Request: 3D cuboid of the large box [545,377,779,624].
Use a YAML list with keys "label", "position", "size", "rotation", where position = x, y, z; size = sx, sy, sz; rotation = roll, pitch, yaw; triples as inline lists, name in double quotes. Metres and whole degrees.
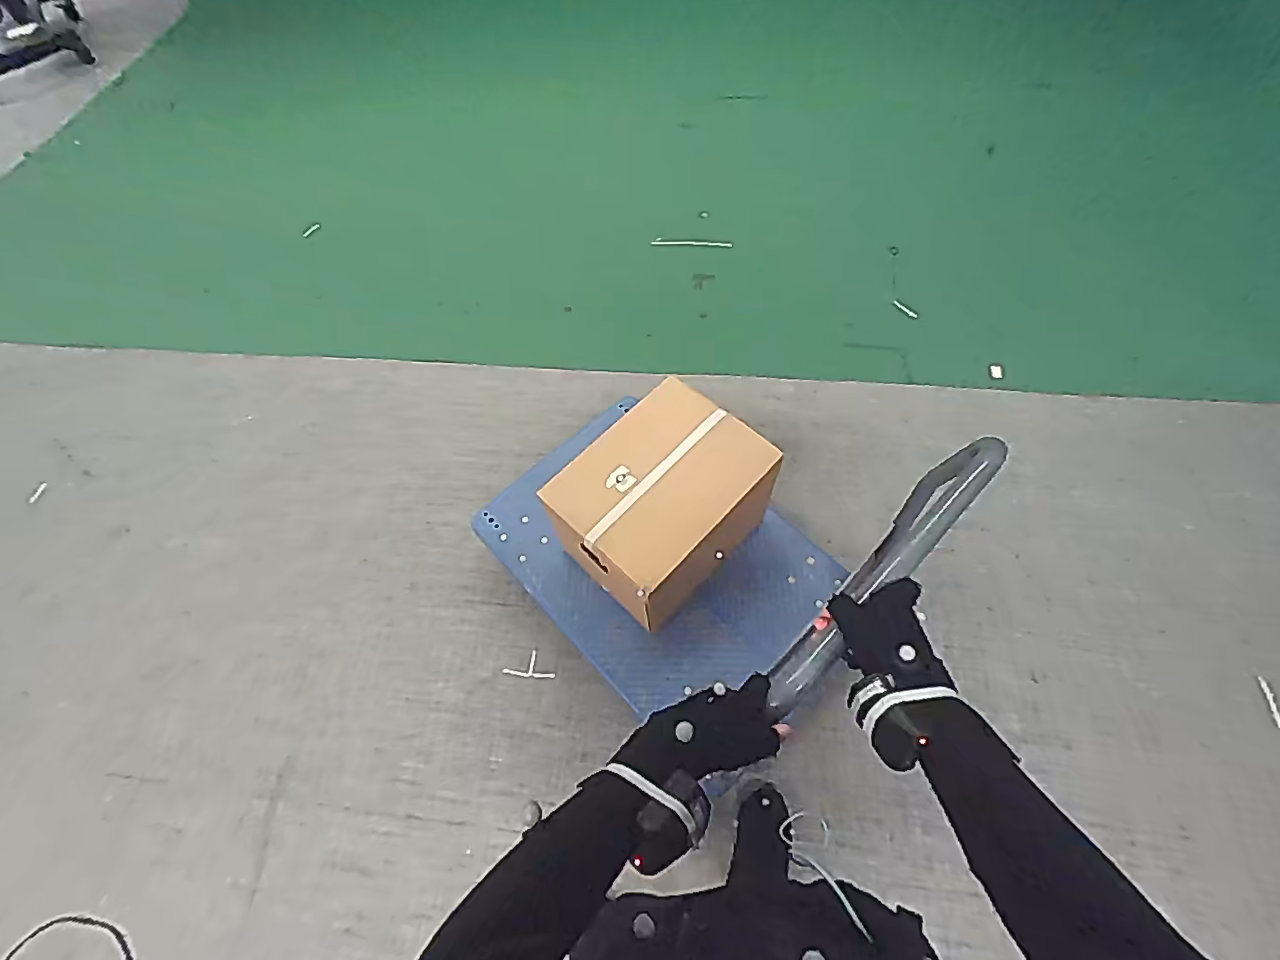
- label: "large box"
  position: [0.058, 0.054, 1.236]
  size: [0.320, 0.320, 0.408]
  rotation: [38, 72, 21]
